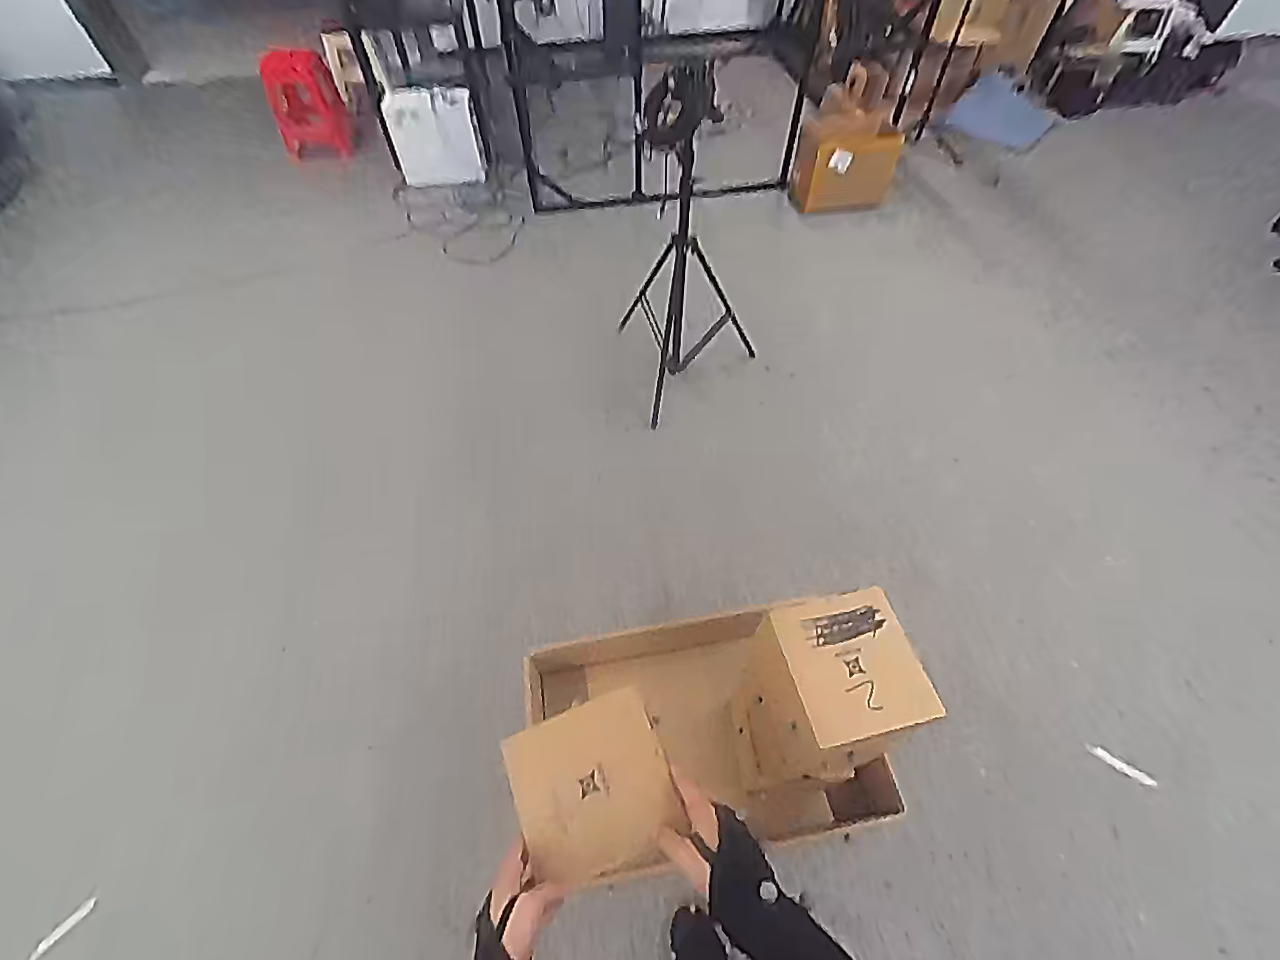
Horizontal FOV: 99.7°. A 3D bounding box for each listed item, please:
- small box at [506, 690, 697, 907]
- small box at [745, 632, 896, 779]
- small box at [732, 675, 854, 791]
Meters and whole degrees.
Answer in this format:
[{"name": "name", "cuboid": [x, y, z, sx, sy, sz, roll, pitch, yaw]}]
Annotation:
[{"name": "small box", "cuboid": [-0.042, 0.381, 0.671, 0.179, 0.176, 0.168, -22, 62, -6]}, {"name": "small box", "cuboid": [0.278, 0.370, 0.882, 0.168, 0.176, 0.179, -6, 54, -3]}, {"name": "small box", "cuboid": [0.273, 0.473, 1.009, 0.168, 0.176, 0.179, -3, 53, -2]}]
